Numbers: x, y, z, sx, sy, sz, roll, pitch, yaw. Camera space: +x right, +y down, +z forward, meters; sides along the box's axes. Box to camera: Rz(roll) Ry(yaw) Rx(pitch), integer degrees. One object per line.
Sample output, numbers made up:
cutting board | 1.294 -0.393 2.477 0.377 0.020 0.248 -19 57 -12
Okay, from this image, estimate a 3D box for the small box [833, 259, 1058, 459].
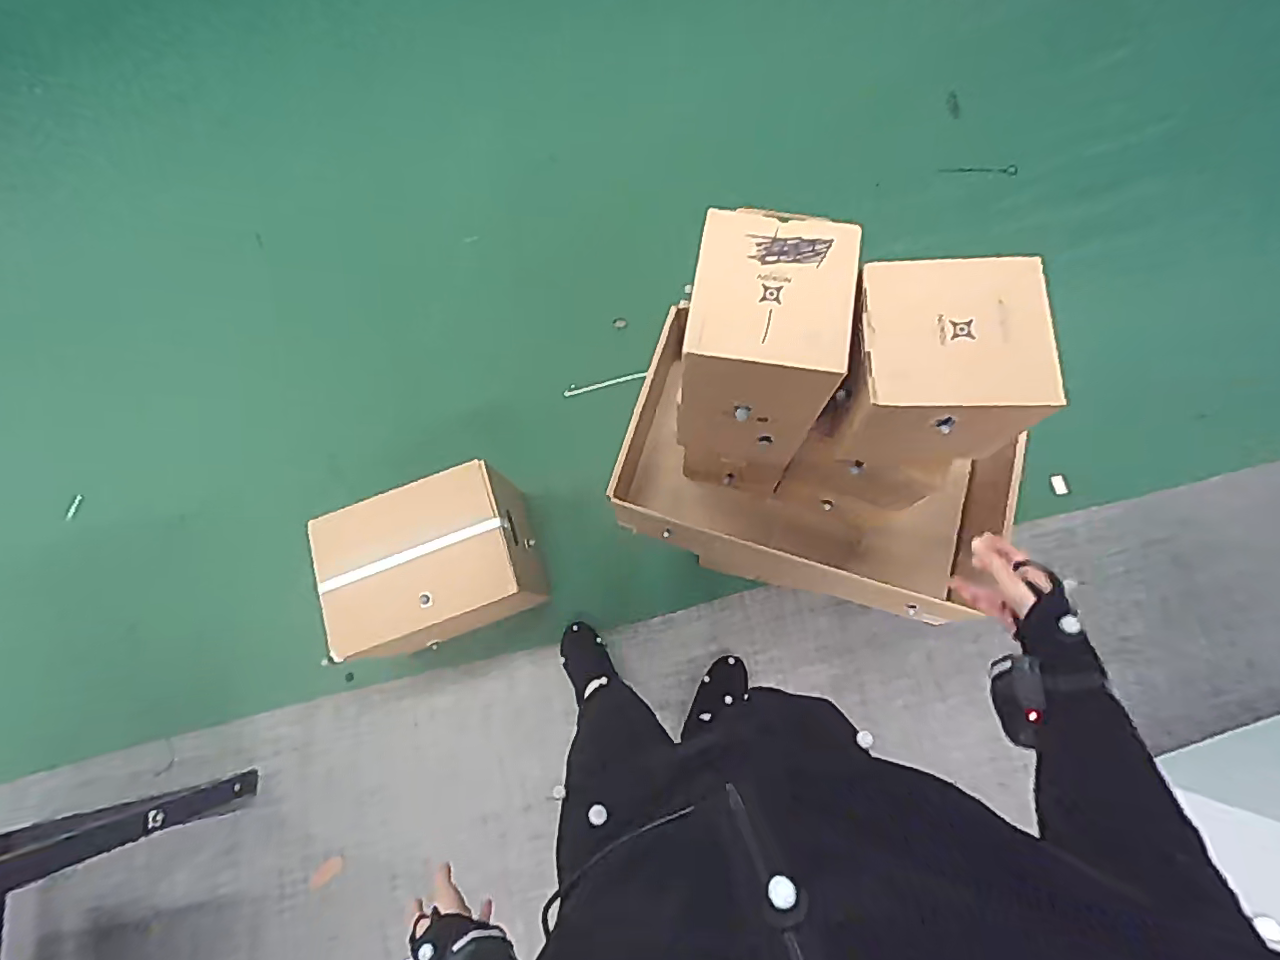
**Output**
small box | 0.323 -0.127 0.616 0.179 0.176 0.168 2 74 8
